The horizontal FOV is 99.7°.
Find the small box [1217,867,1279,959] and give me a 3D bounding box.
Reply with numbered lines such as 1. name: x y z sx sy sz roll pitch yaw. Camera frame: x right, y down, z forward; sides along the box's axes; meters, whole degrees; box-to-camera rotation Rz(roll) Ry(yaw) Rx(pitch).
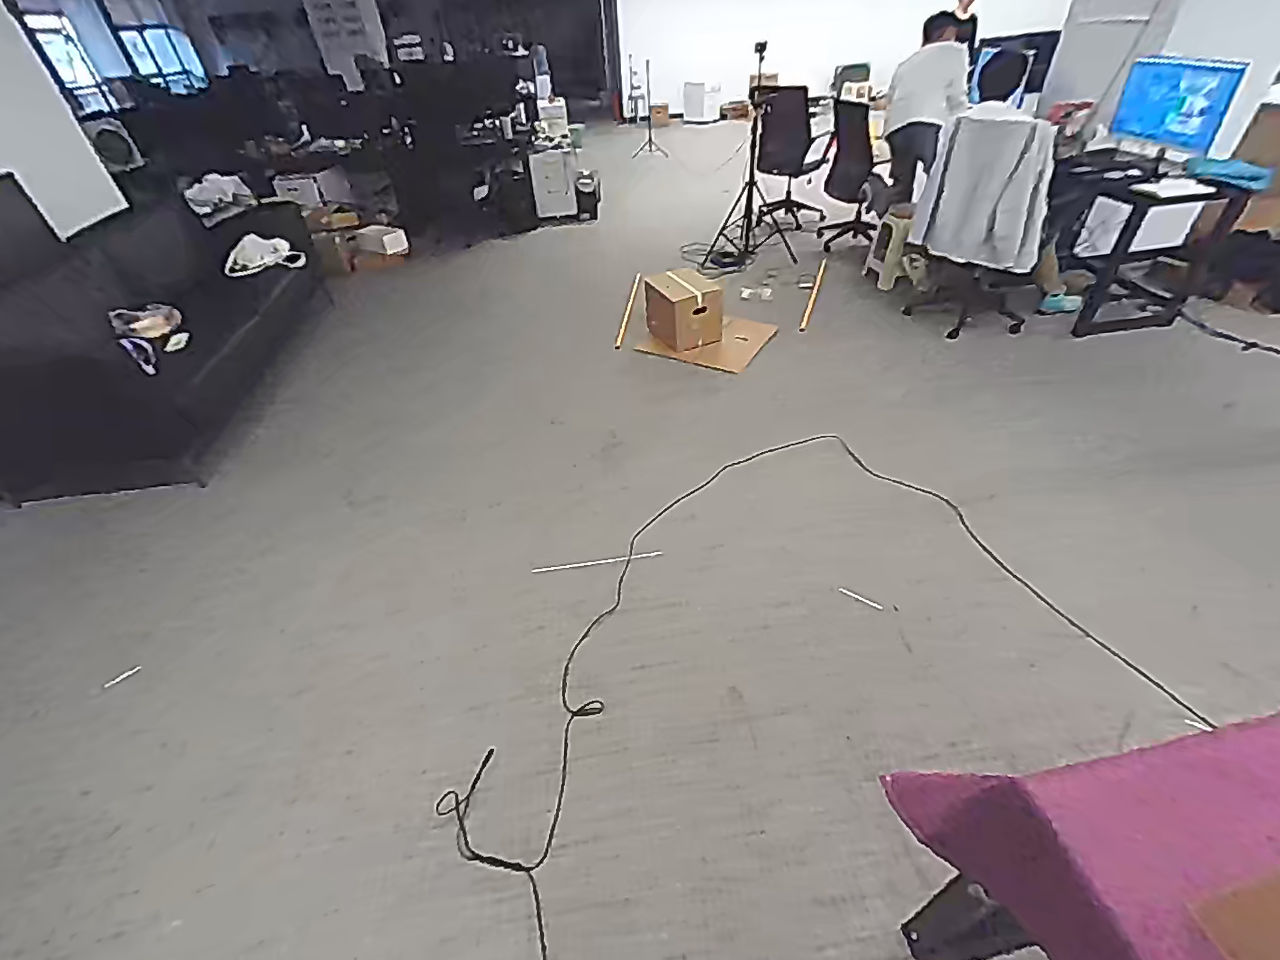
1. small box: 0.693 0.446 0.482 0.179 0.176 0.168 -7 41 -3
